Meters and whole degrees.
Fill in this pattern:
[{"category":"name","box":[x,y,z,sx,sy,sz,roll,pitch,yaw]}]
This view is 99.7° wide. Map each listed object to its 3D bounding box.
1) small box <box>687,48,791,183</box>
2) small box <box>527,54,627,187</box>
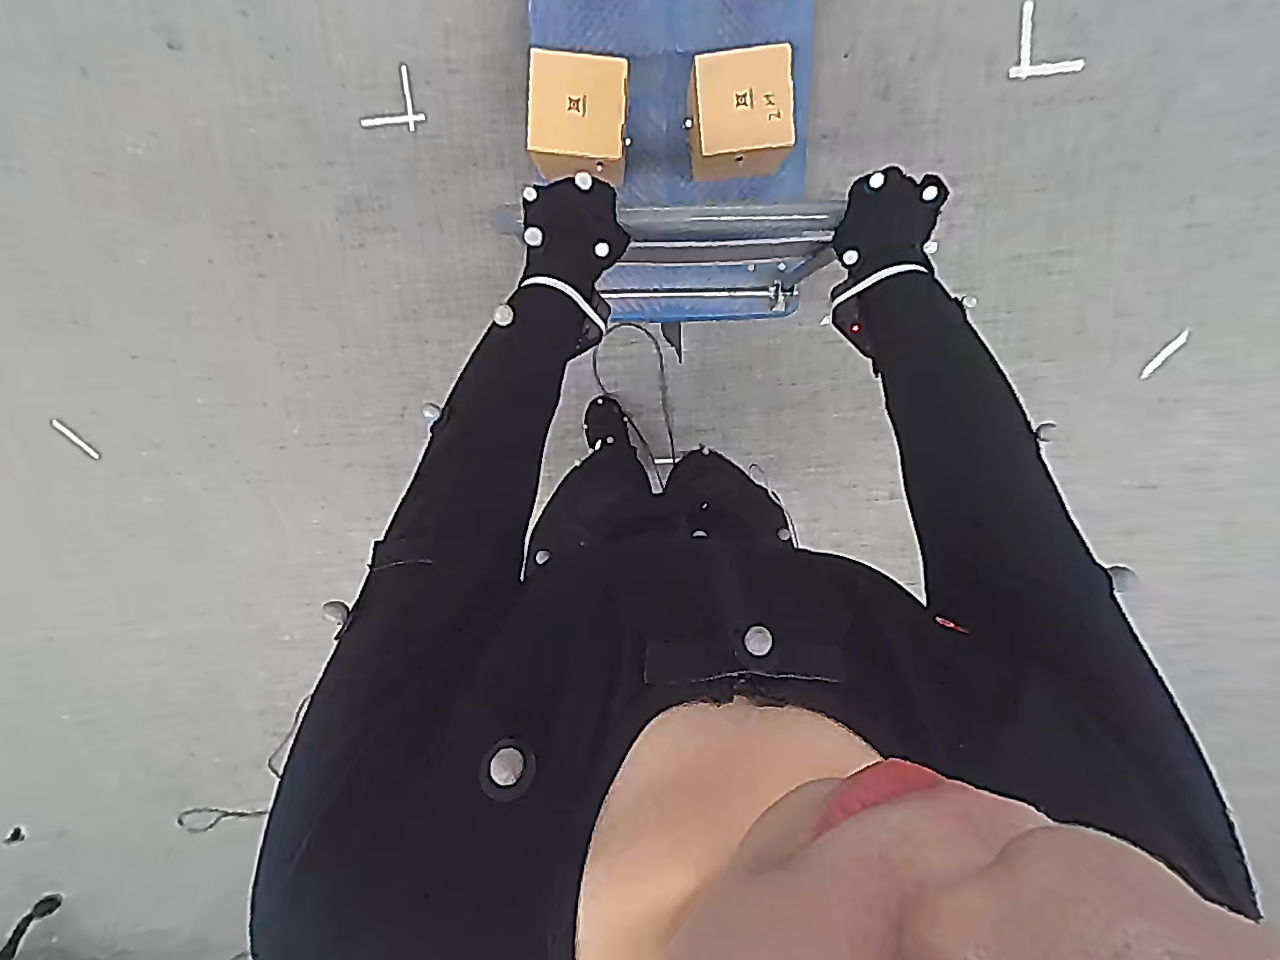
[{"category":"small box","box":[0.188,-0.707,1.068,0.179,0.176,0.168,-7,103,1]},{"category":"small box","box":[-0.119,-0.697,1.067,0.179,0.176,0.168,4,102,-3]}]
